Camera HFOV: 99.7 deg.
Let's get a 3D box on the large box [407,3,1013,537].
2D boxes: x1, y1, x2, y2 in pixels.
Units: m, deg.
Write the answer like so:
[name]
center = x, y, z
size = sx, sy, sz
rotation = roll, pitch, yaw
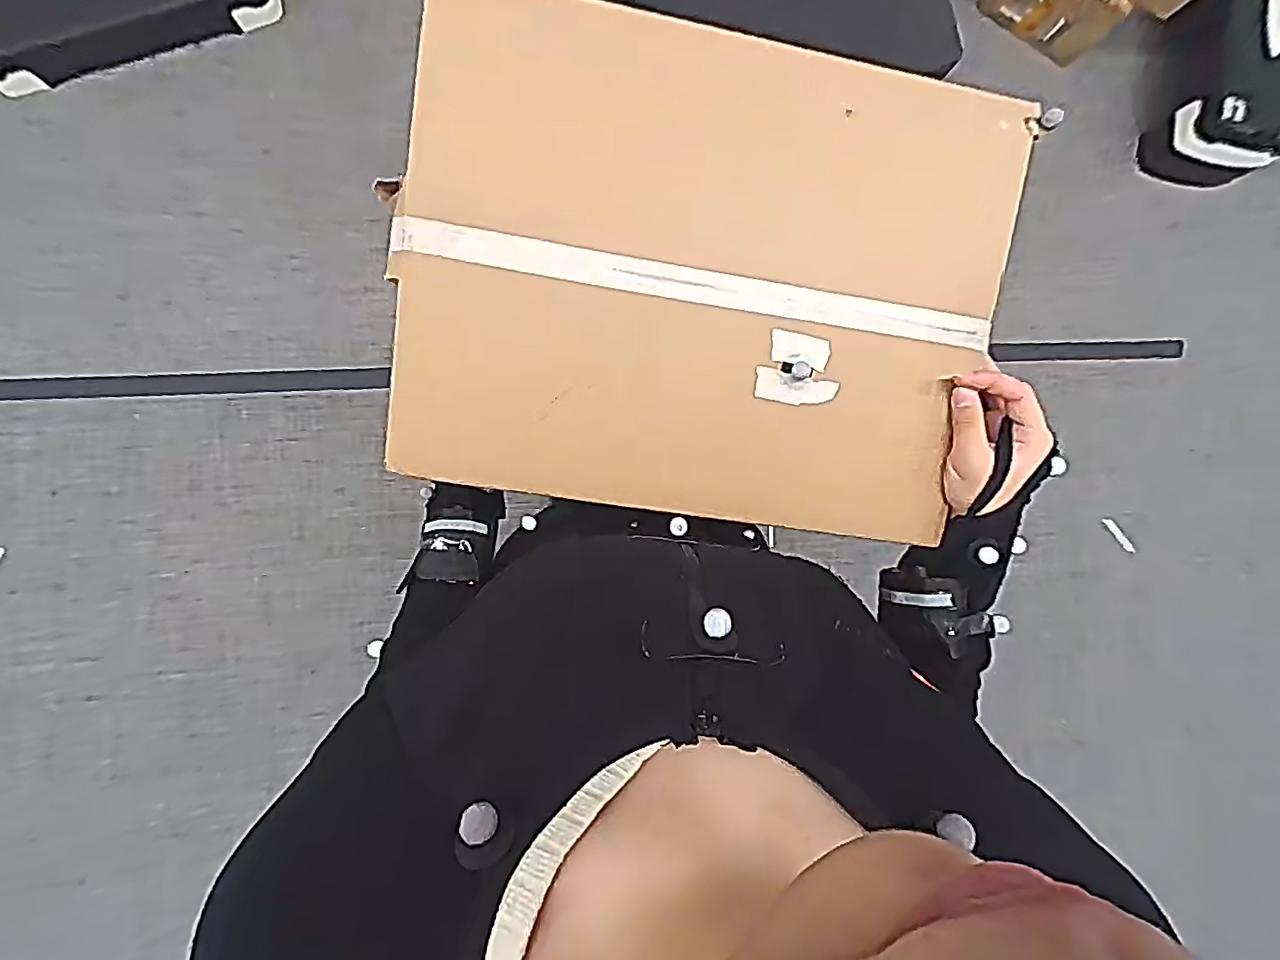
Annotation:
[large box]
center = 0.034, -0.147, 0.523
size = 0.408, 0.320, 0.320
rotation = 7, 98, -7
